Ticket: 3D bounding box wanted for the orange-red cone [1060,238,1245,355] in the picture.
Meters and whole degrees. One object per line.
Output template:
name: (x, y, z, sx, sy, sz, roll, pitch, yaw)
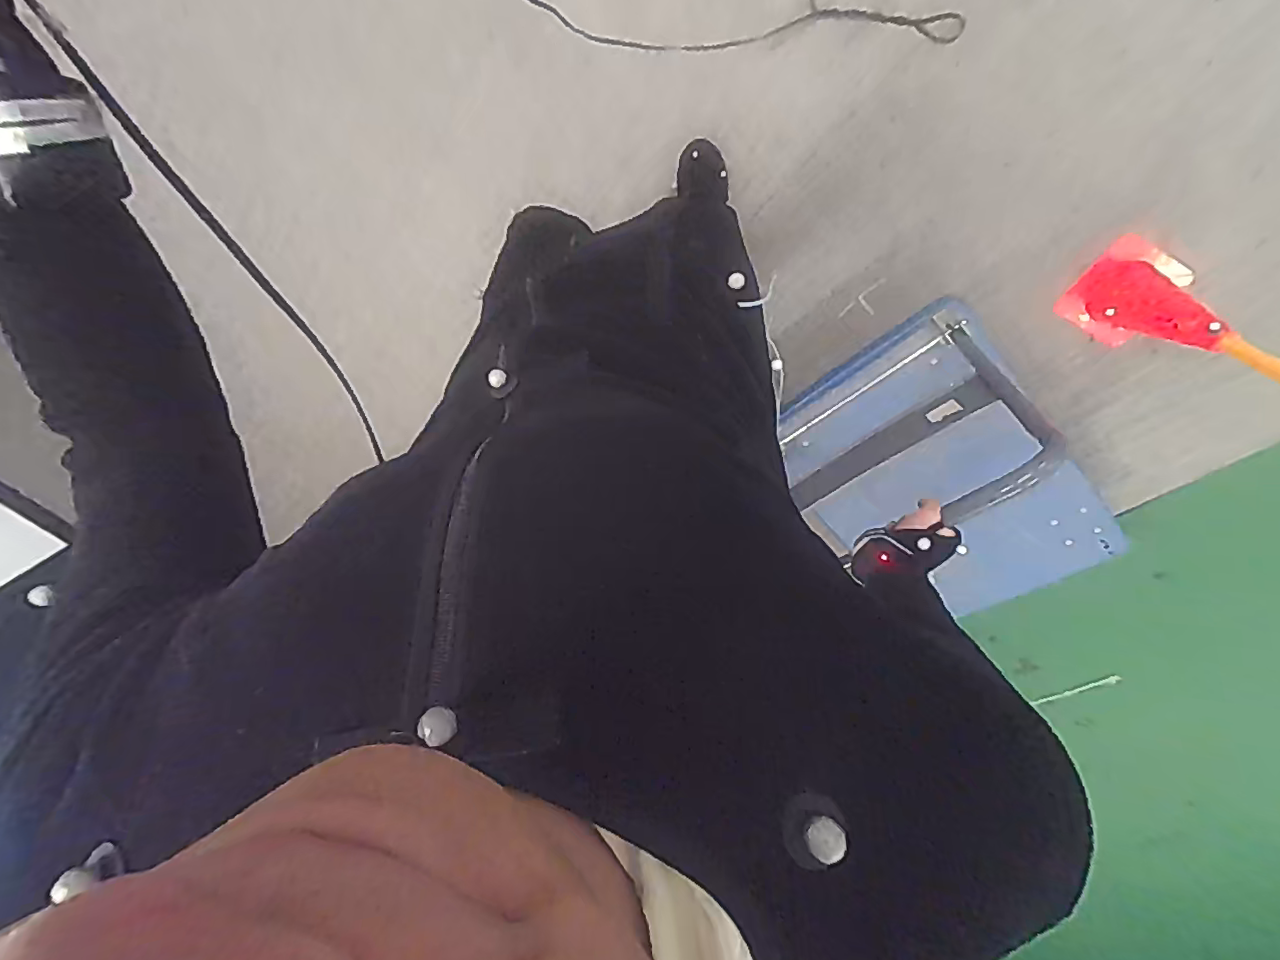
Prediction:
orange-red cone: (1.086, -0.335, 1.106, 0.198, 0.360, 0.199, 29, 123, -7)
